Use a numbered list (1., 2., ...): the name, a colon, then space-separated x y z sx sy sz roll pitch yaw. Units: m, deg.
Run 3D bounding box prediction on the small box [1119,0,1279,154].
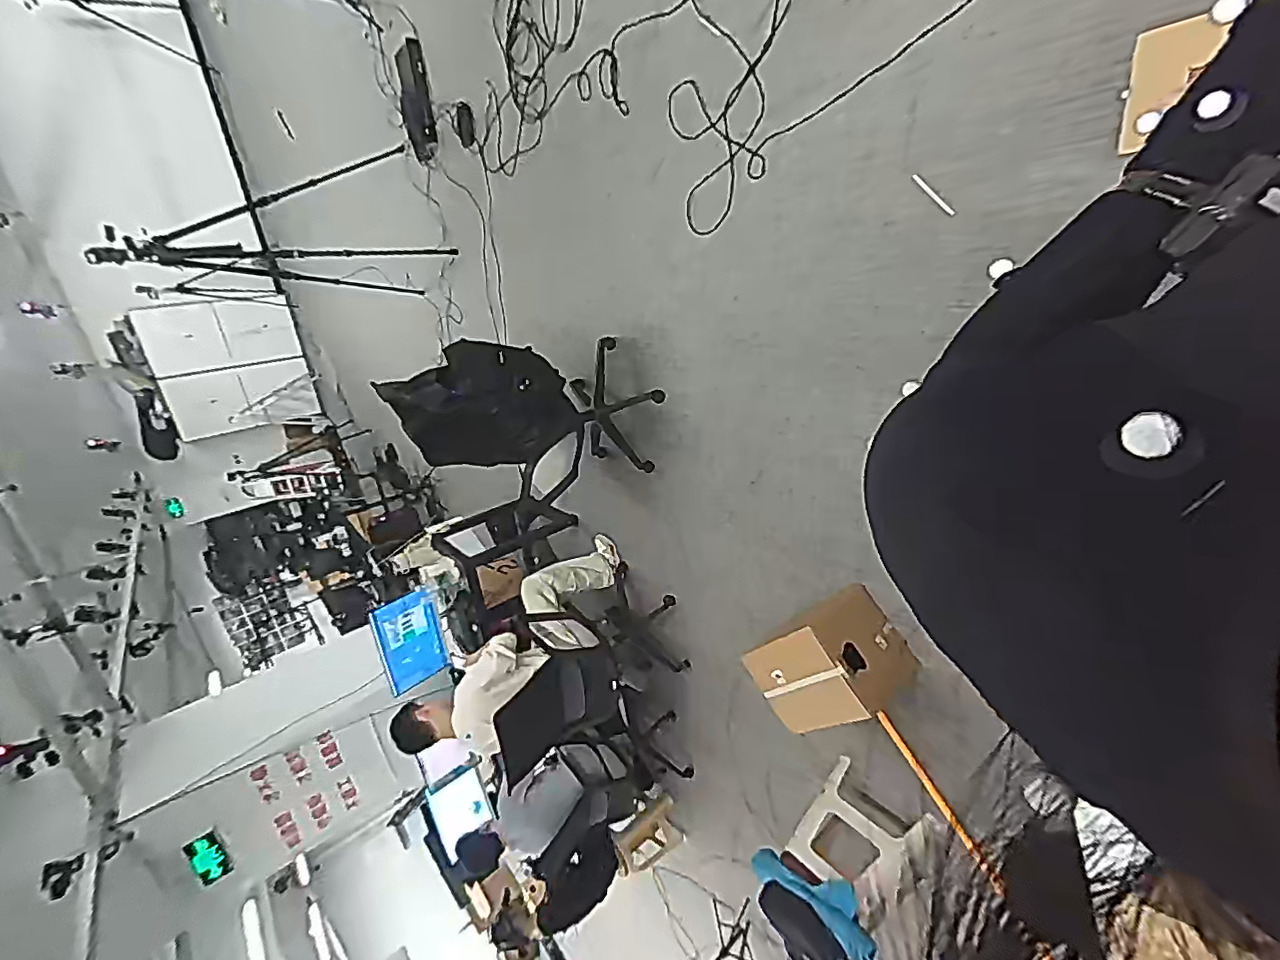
1. small box: 0.939 -0.661 0.900 0.168 0.176 0.179 17 122 48
